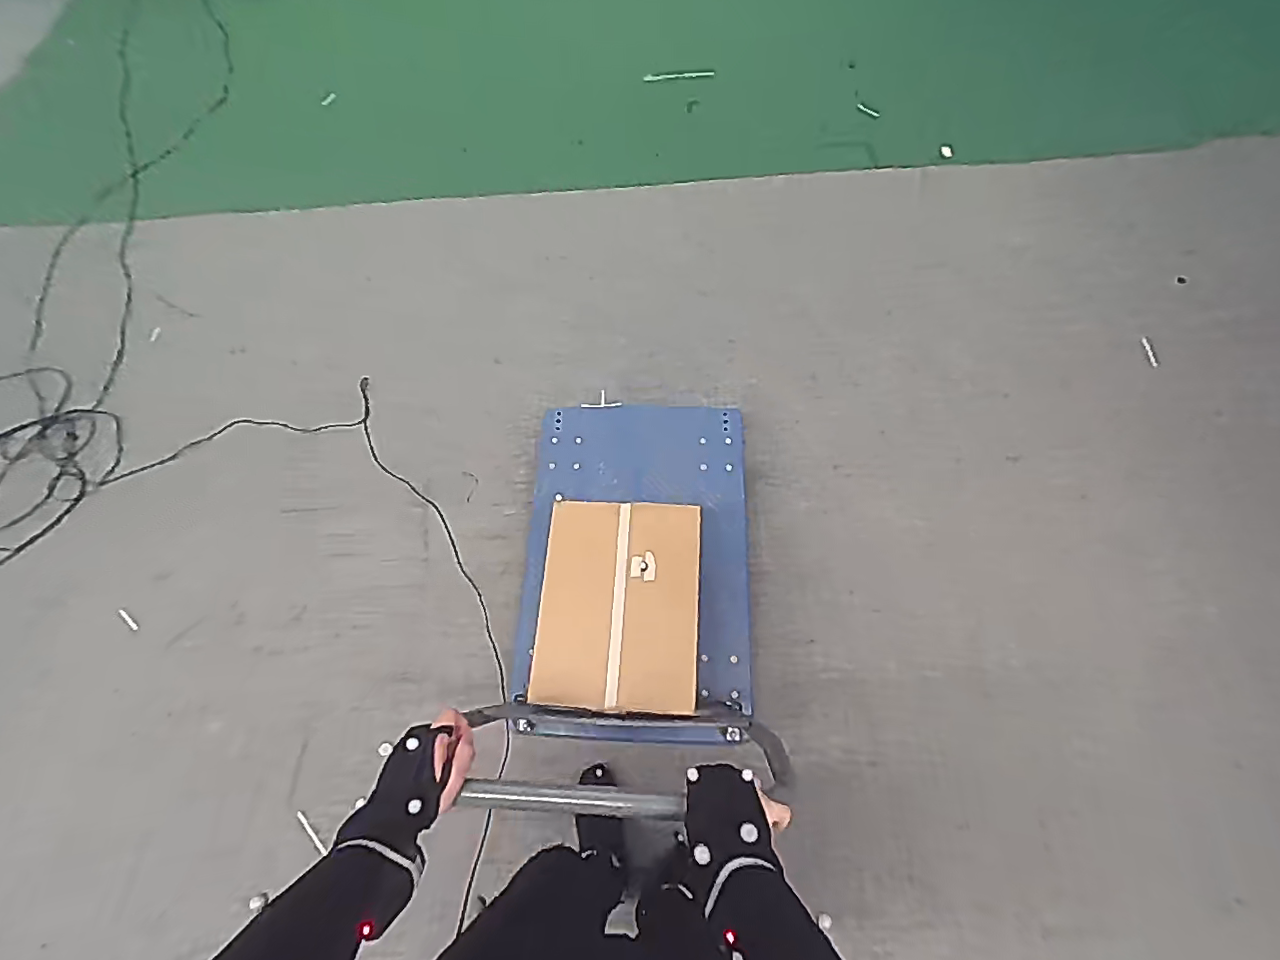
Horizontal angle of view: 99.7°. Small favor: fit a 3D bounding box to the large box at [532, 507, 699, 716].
[{"bbox_3d":[-0.028,0.302,1.198,0.320,0.320,0.408,2,67,5],"label":"large box"}]
